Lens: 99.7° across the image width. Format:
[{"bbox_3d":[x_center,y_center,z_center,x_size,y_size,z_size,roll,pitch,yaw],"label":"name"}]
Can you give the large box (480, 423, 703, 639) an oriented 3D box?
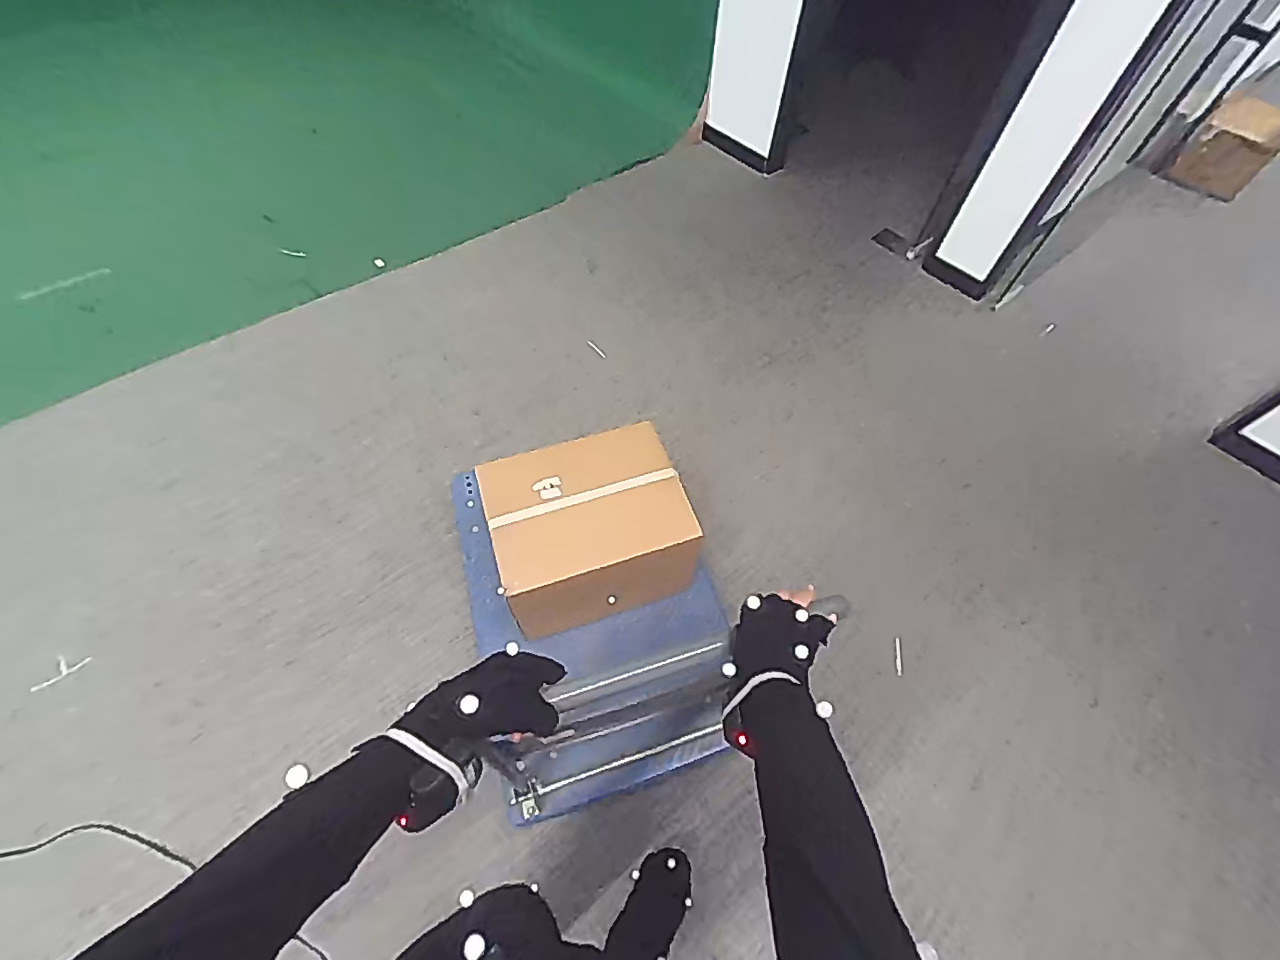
[{"bbox_3d":[-0.110,0.124,1.255,0.408,0.320,0.320,-17,59,-12],"label":"large box"}]
